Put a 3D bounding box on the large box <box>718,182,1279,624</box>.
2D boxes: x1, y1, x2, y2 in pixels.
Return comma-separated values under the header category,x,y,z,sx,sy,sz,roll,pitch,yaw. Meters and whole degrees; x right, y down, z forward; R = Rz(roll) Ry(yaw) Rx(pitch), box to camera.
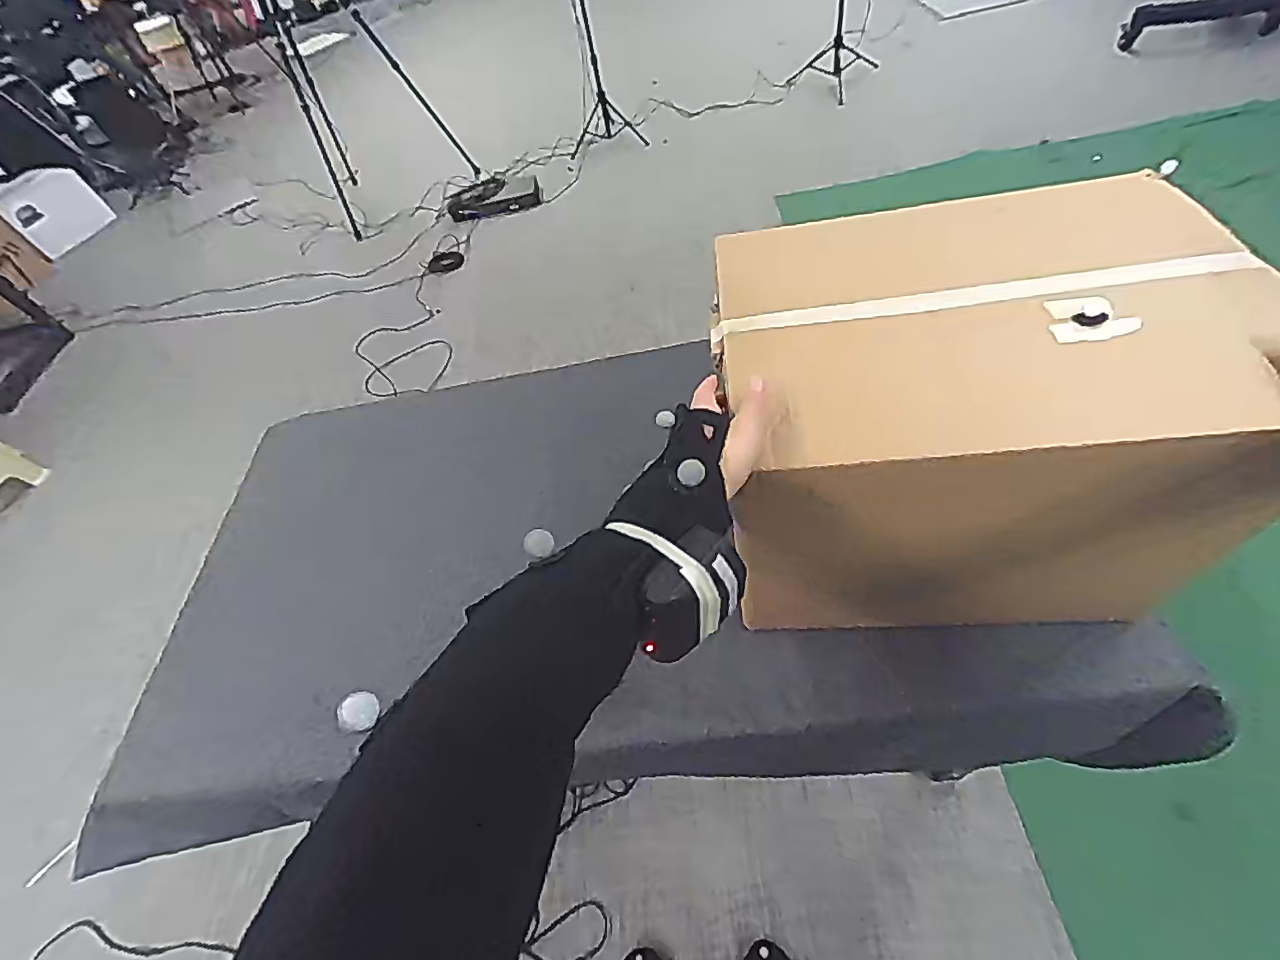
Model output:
category,x,y,z,sx,sy,sz,roll,pitch,yaw
large box,0.298,-0.057,0.566,0.408,0.320,0.320,-4,54,9
